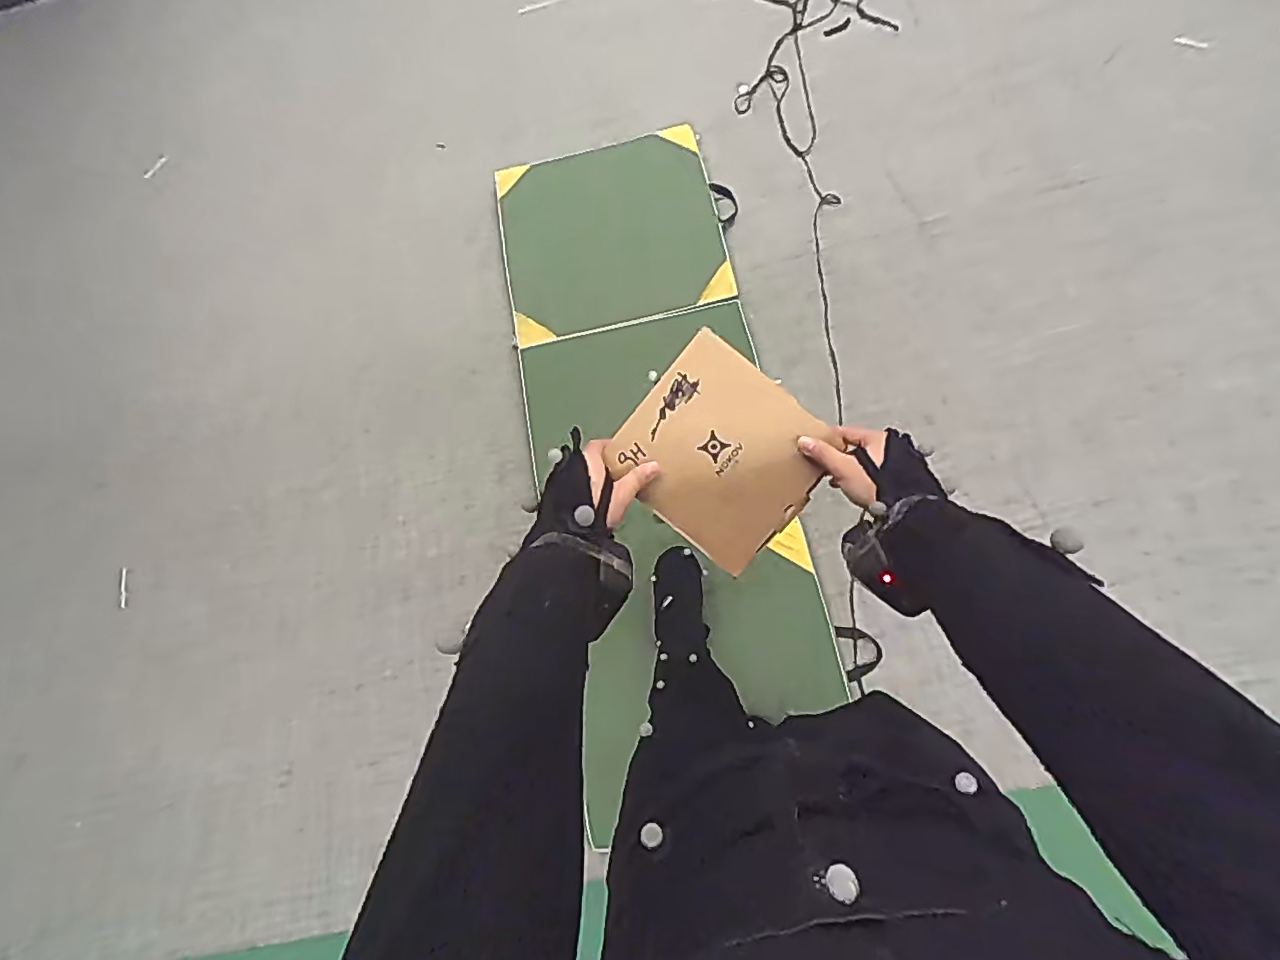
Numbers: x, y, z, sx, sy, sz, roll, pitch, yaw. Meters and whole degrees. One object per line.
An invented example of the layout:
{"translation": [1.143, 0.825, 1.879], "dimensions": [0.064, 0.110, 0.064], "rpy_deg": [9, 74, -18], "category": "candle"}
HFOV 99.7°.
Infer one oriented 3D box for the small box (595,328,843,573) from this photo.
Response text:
{"translation": [0.076, -0.030, 0.583], "dimensions": [0.179, 0.176, 0.168], "rpy_deg": [40, 92, 1], "category": "small box"}
